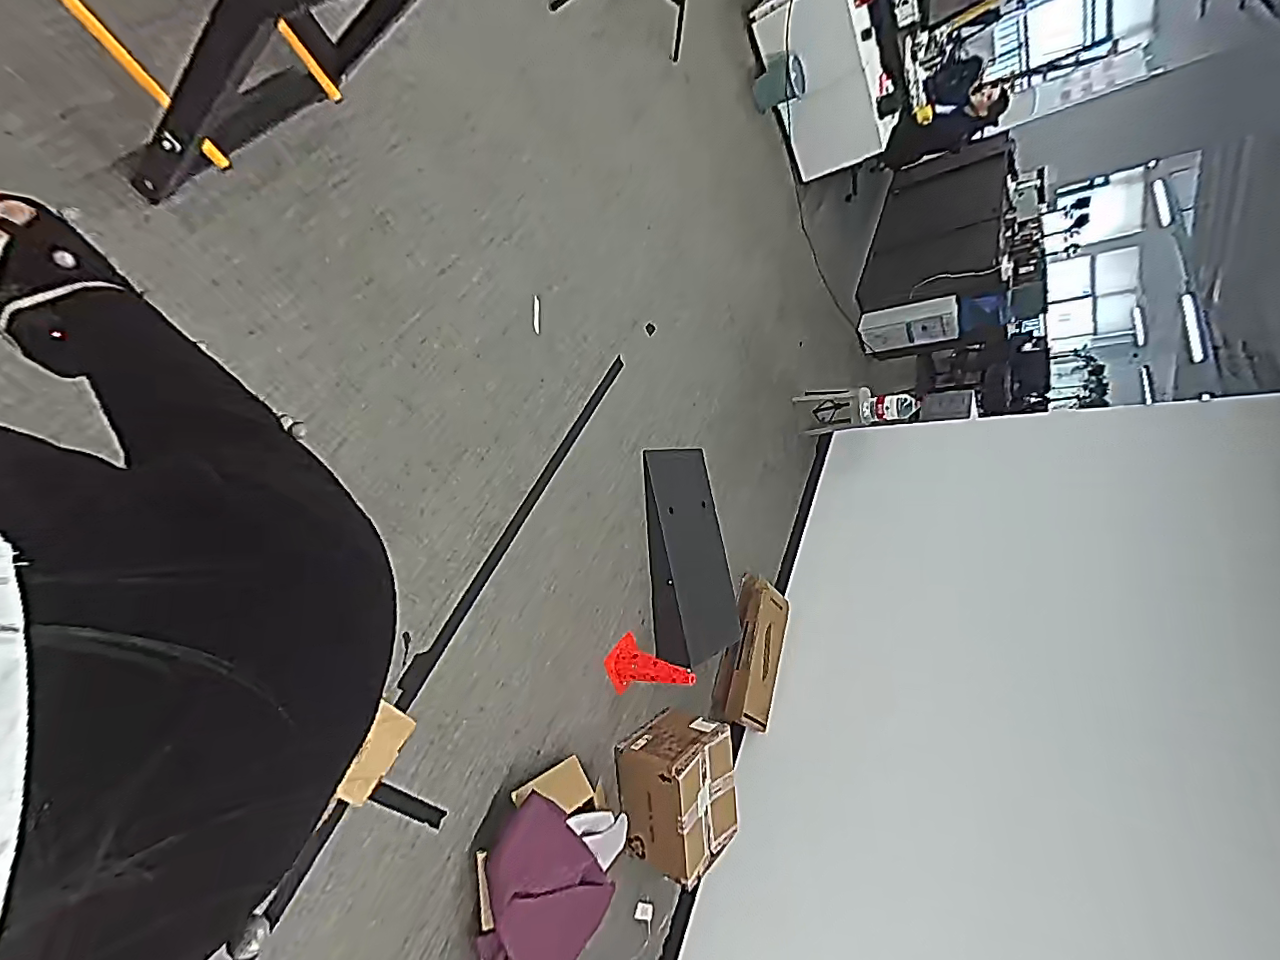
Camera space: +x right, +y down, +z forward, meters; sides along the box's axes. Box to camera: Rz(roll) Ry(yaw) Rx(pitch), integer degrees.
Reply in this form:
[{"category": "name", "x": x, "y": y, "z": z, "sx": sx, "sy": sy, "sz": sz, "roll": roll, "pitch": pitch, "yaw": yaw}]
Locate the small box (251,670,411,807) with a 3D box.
[{"category": "small box", "x": -0.594, "y": 0.488, "z": 1.043, "sx": 0.179, "sy": 0.176, "sz": 0.168, "roll": 56, "pitch": 48, "yaw": -33}]
